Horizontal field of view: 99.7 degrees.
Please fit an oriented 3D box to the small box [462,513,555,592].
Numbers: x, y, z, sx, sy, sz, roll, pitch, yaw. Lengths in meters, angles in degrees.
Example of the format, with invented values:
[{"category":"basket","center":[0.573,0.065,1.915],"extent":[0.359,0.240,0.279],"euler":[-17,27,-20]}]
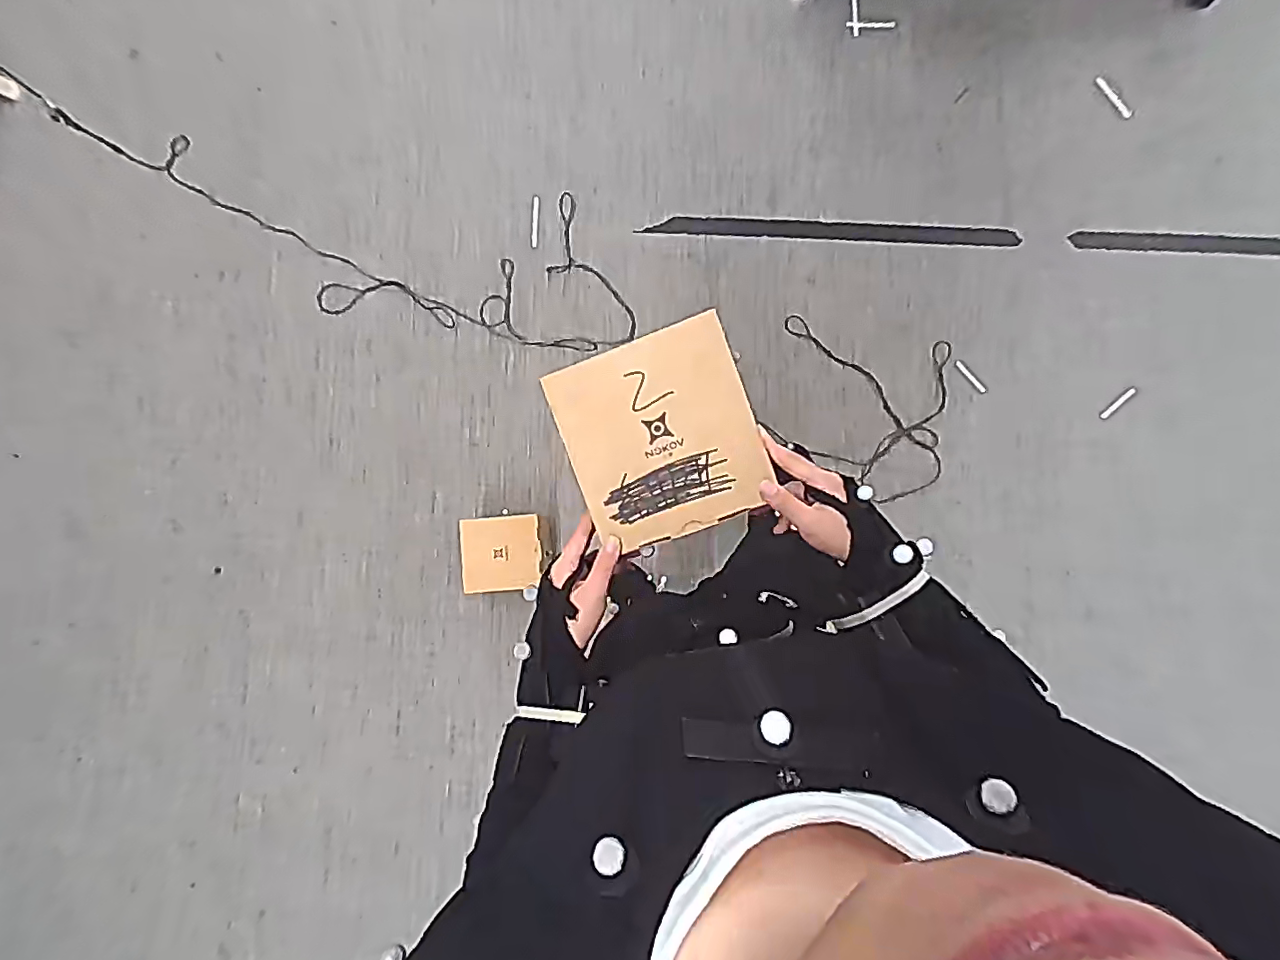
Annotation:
[{"category":"small box","center":[-0.305,0.169,1.273],"extent":[0.179,0.176,0.168],"euler":[-5,86,-2]}]
